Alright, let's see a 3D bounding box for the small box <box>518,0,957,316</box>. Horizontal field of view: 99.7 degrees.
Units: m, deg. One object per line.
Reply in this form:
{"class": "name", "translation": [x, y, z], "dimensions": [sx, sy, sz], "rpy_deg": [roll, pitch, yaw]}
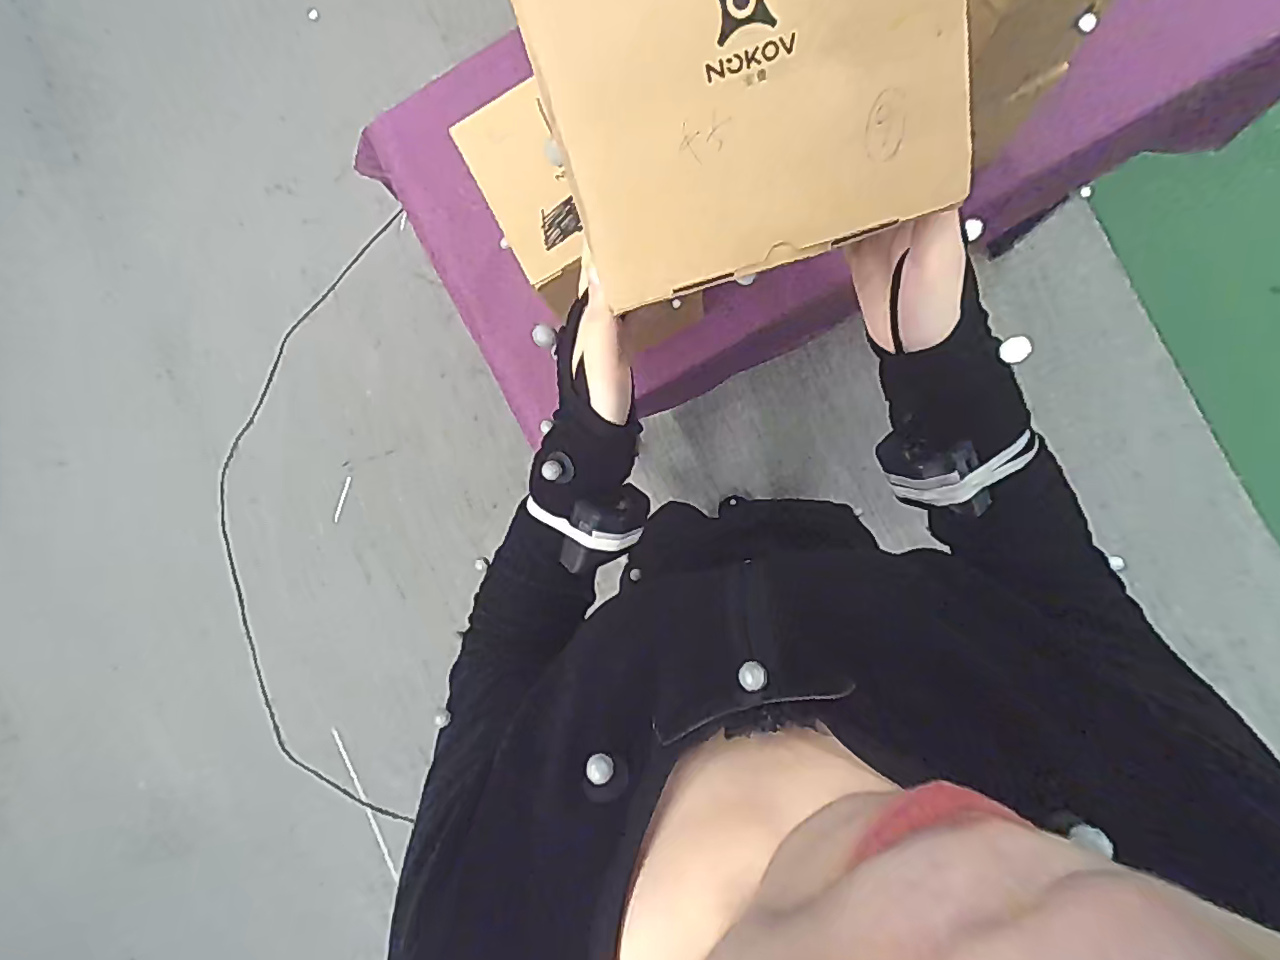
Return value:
{"class": "small box", "translation": [0.040, -0.208, 0.285], "dimensions": [0.168, 0.176, 0.179], "rpy_deg": [-15, 116, 6]}

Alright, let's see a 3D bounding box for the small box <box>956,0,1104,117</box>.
{"class": "small box", "translation": [0.331, -0.487, 0.517], "dimensions": [0.168, 0.176, 0.179], "rpy_deg": [-29, 85, 5]}

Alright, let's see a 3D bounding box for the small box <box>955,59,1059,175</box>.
{"class": "small box", "translation": [0.354, -0.477, 0.678], "dimensions": [0.179, 0.176, 0.168], "rpy_deg": [-26, 86, 6]}

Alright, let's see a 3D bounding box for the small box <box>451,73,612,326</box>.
{"class": "small box", "translation": [-0.054, -0.282, 0.561], "dimensions": [0.168, 0.176, 0.179], "rpy_deg": [-28, 84, 5]}

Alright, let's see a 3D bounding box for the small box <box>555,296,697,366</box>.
{"class": "small box", "translation": [-0.034, -0.275, 0.724], "dimensions": [0.179, 0.176, 0.168], "rpy_deg": [-28, 85, 5]}
